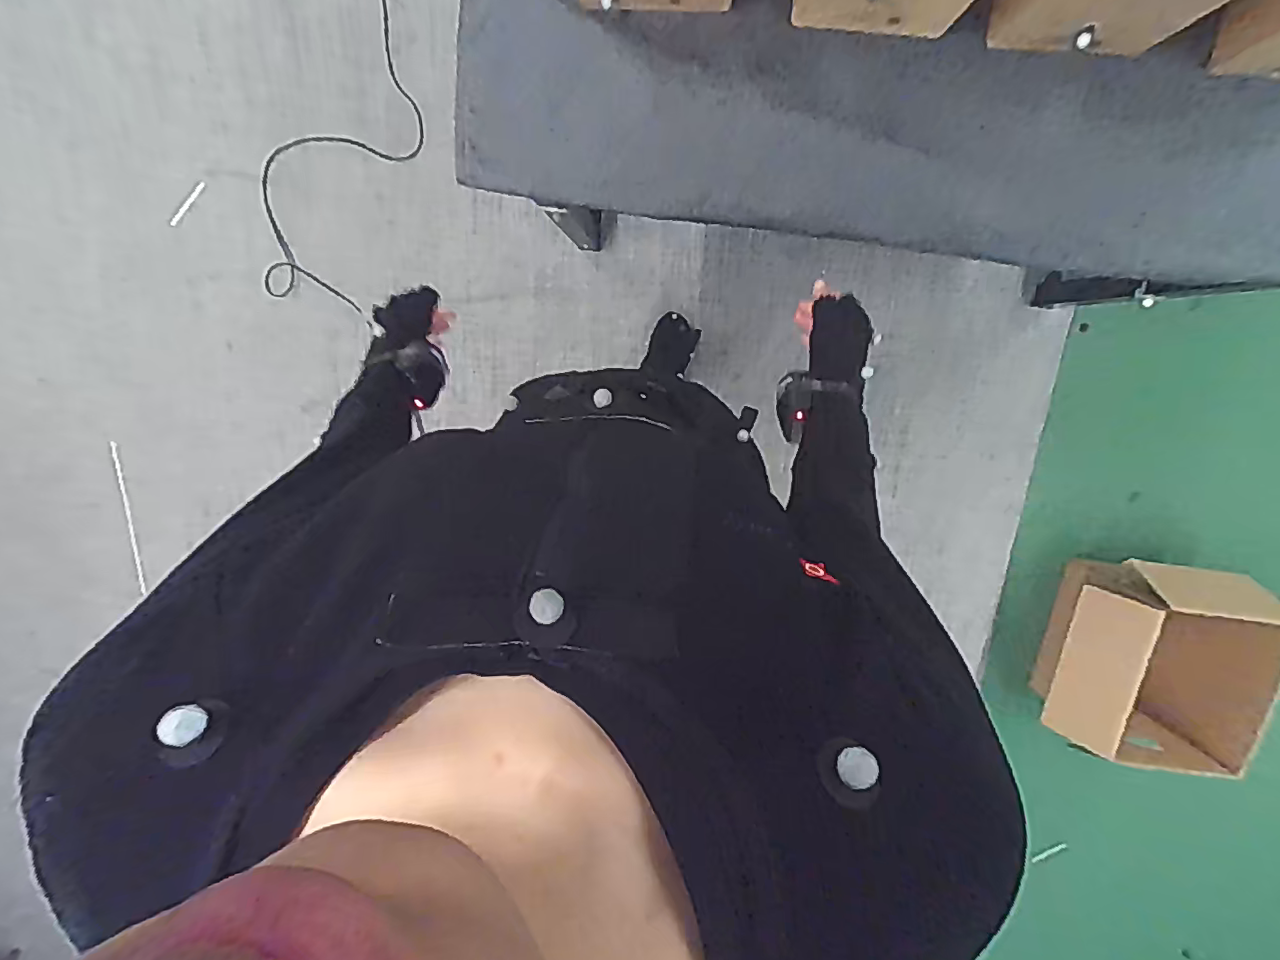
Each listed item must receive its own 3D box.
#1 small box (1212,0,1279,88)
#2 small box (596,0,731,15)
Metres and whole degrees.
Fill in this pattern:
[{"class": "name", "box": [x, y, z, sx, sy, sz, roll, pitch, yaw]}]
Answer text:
[{"class": "small box", "box": [0.700, -0.495, 0.493, 0.168, 0.176, 0.179, 6, 104, 2]}, {"class": "small box", "box": [0.019, -0.576, 0.500, 0.168, 0.176, 0.179, 3, 103, 1]}]
